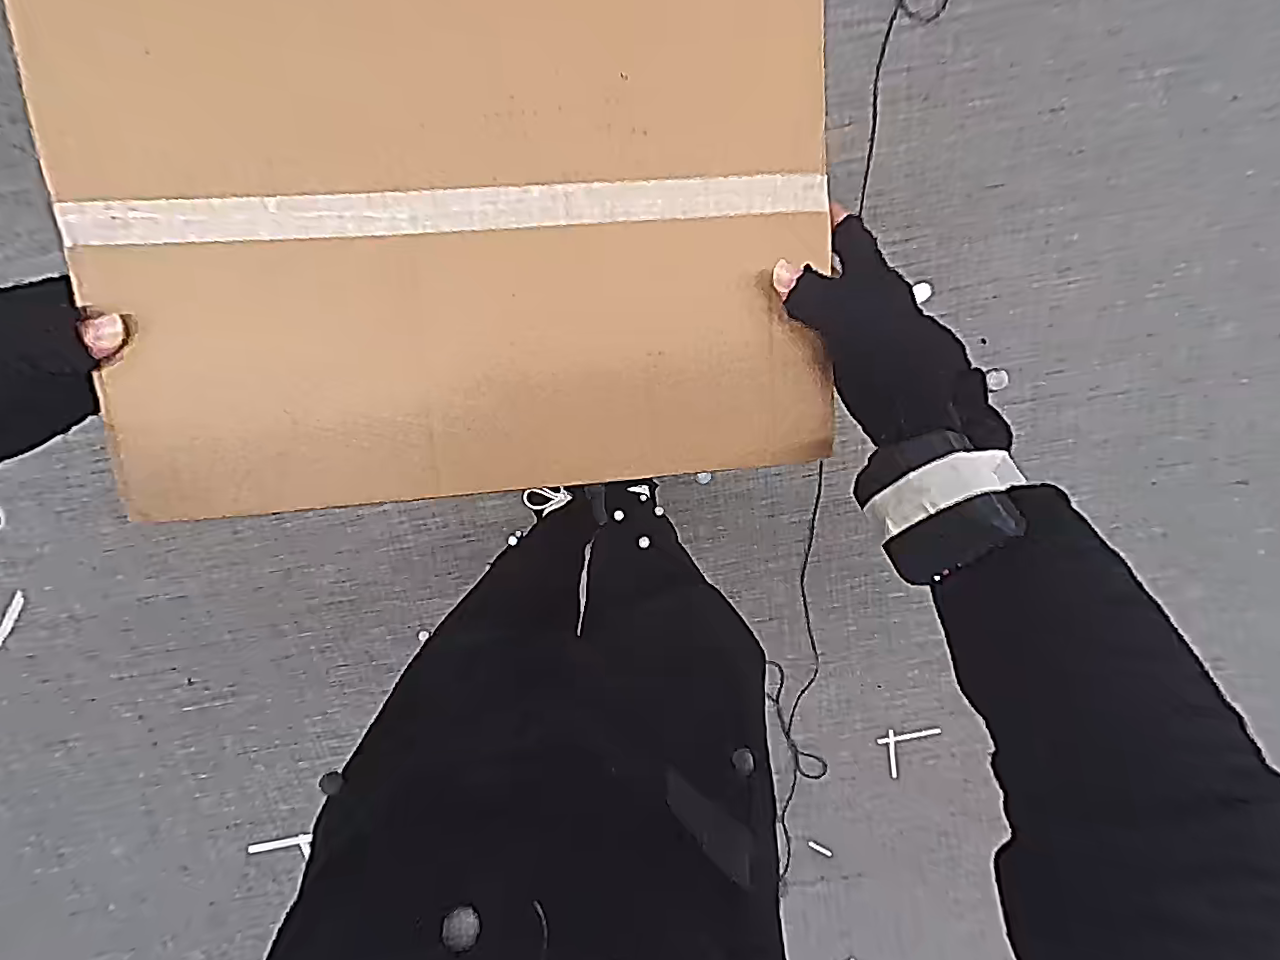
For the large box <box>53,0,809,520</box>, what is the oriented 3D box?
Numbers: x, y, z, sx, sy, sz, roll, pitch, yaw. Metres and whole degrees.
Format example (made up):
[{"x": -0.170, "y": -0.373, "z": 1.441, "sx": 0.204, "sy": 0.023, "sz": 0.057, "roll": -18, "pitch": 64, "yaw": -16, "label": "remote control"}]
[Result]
[{"x": -0.111, "y": -0.169, "z": 0.463, "sx": 0.408, "sy": 0.320, "sz": 0.320, "roll": -5, "pitch": 98, "yaw": -7, "label": "large box"}]
